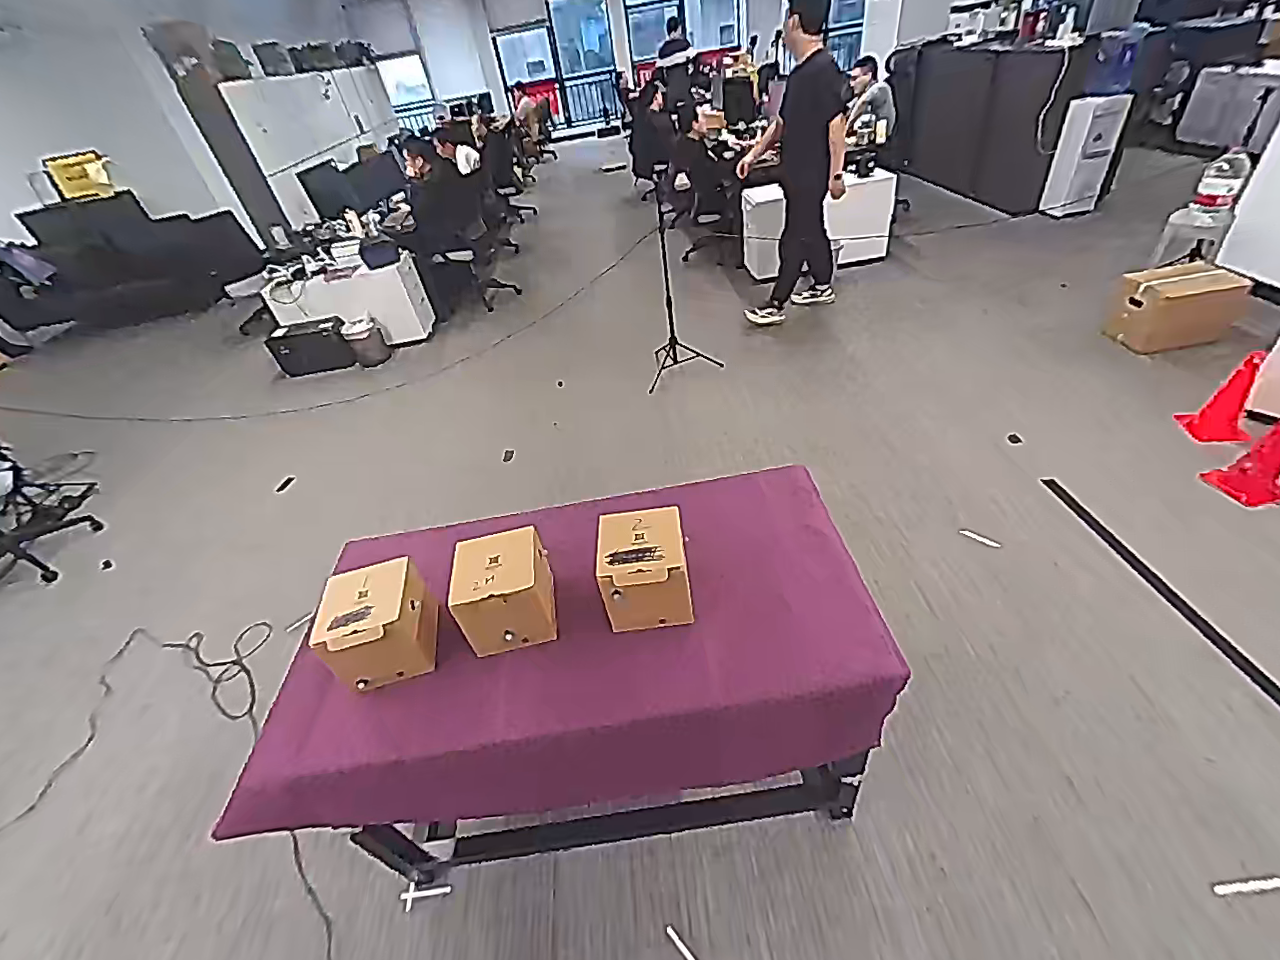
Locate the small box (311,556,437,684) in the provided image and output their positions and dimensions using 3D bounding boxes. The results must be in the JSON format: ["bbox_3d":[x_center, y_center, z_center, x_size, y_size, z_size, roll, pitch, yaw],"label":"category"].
[{"bbox_3d":[-0.526,0.289,1.098,0.168,0.176,0.179,-15,38,-5],"label":"small box"}]

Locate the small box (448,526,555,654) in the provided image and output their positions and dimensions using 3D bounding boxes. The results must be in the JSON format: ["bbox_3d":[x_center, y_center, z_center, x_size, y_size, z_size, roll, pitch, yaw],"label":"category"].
[{"bbox_3d":[-0.277,0.226,1.117,0.168,0.176,0.179,-13,39,-2],"label":"small box"}]
